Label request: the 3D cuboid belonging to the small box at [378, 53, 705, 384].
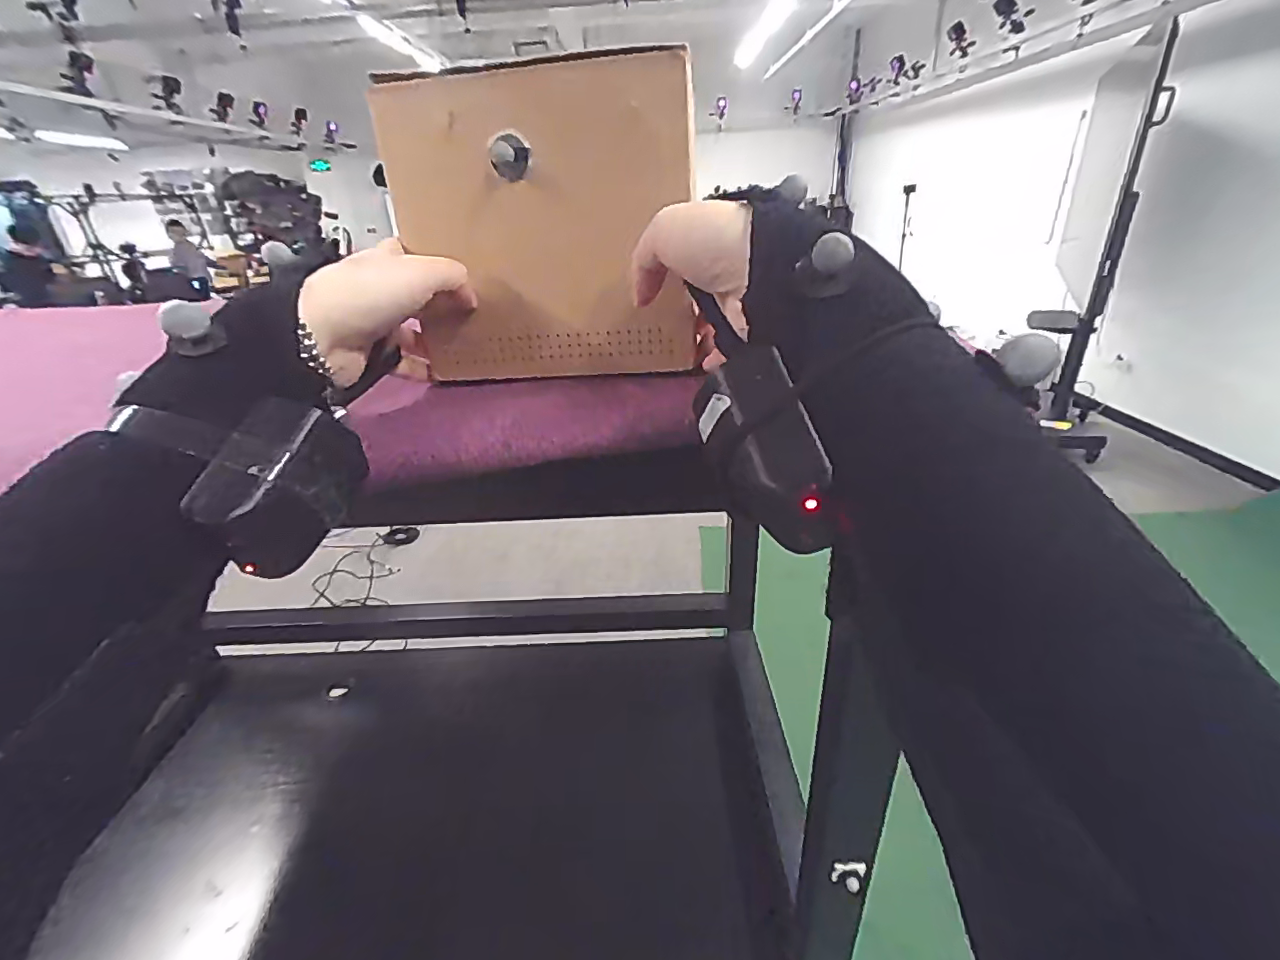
[{"bbox_3d":[-0.044,-0.169,0.386,0.179,0.176,0.168,0,25,7],"label":"small box"}]
